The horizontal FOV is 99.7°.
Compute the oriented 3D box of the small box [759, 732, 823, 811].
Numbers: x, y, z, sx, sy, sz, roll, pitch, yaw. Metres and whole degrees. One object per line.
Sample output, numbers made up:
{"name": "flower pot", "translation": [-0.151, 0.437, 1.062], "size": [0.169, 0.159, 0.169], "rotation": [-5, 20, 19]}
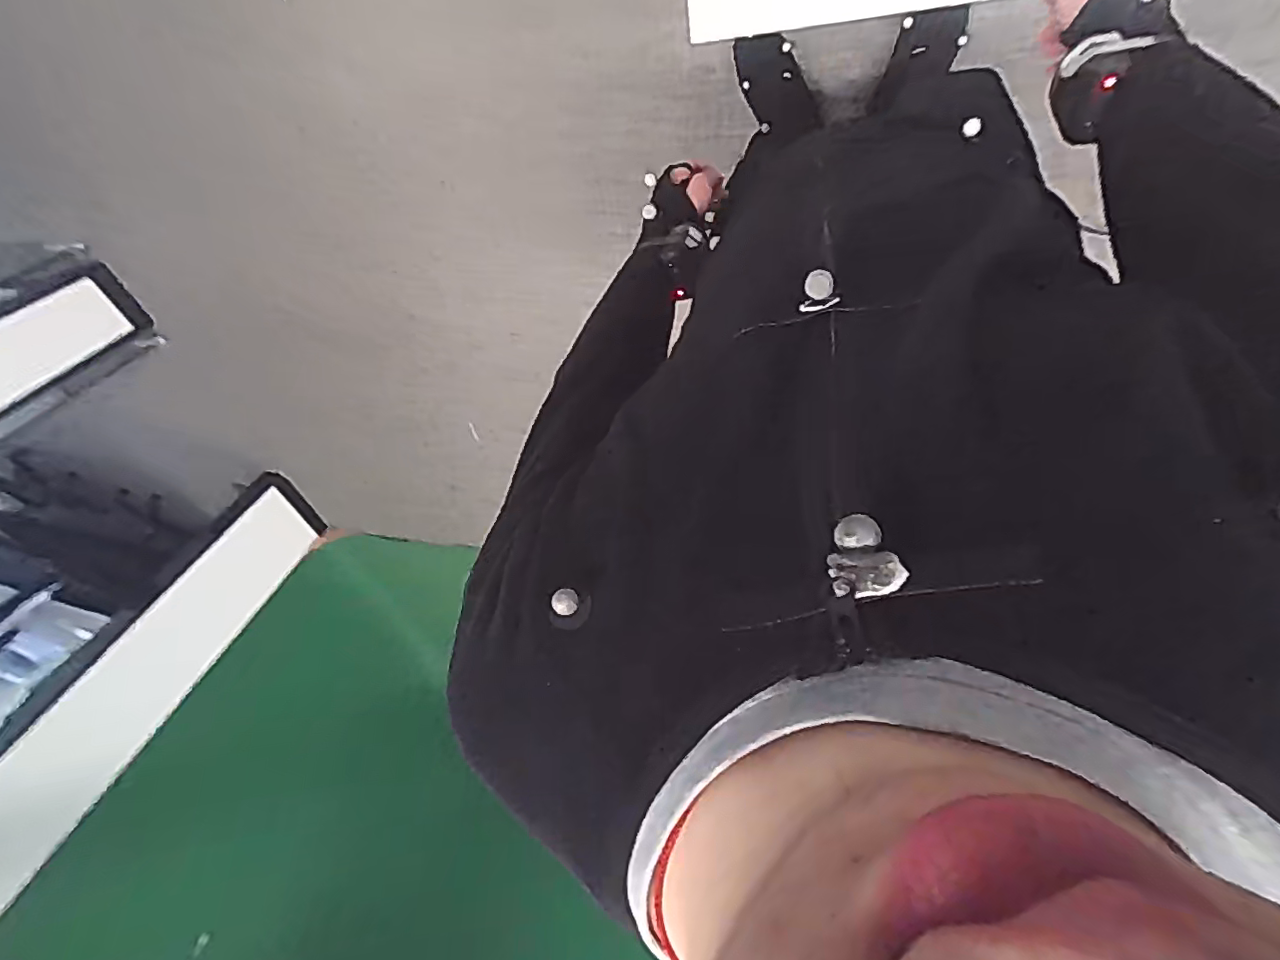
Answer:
{"name": "small box", "translation": [0.493, 0.946, 1.763], "size": [0.179, 0.176, 0.168], "rotation": [10, 137, 13]}
